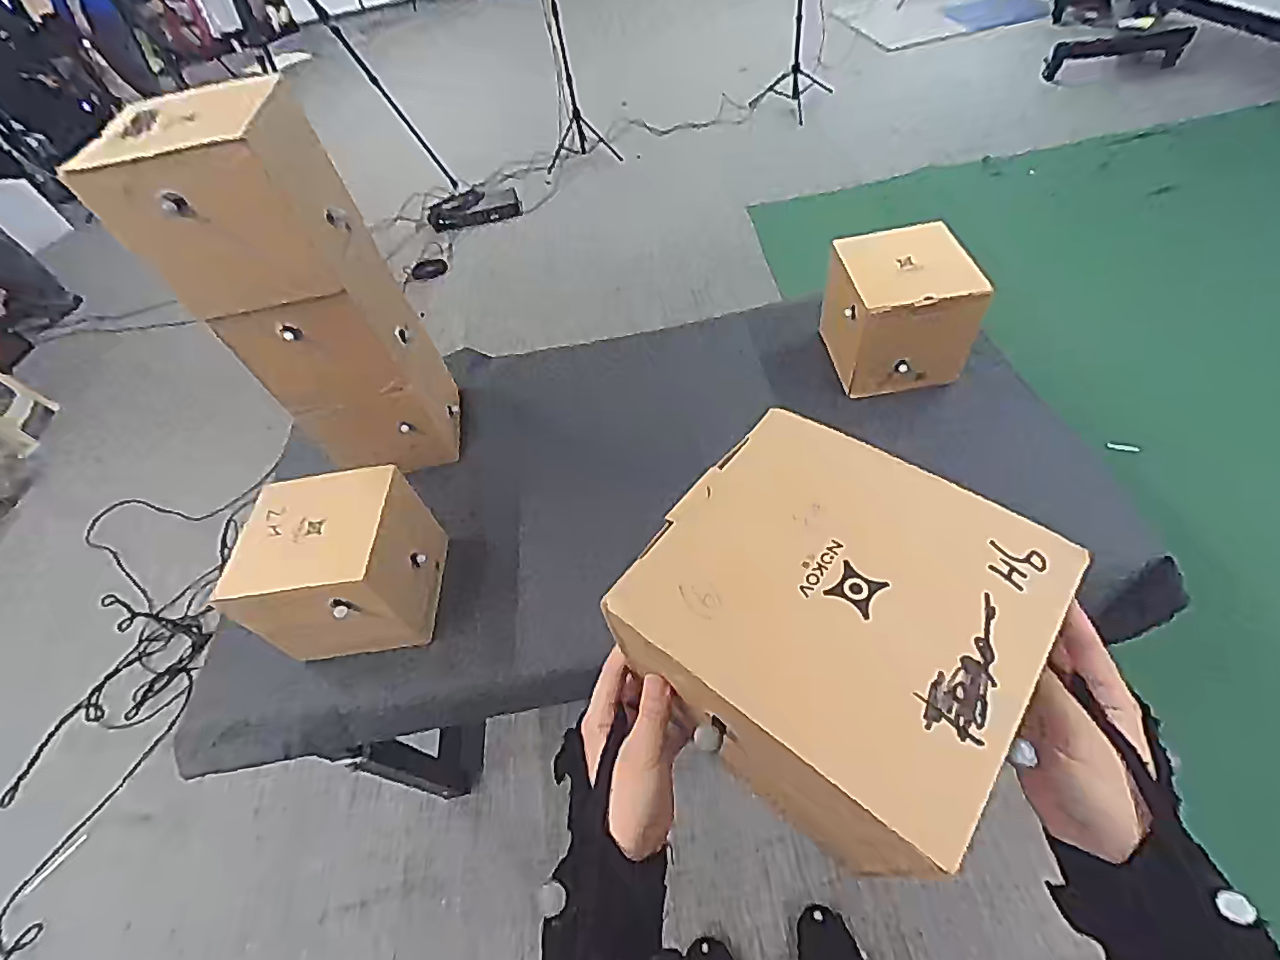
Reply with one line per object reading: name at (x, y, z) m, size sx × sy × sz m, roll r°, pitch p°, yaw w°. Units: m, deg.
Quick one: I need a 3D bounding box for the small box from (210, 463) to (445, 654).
small box at (-0.368, 0.103, 0.682) m, size 0.179 × 0.176 × 0.168 m, roll -9°, pitch 50°, yaw 3°

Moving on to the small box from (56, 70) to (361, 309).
small box at (-0.448, -0.313, 0.600) m, size 0.179 × 0.176 × 0.168 m, roll -11°, pitch 55°, yaw 0°

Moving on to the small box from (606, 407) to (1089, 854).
small box at (0.106, 0.093, 0.328) m, size 0.179 × 0.176 × 0.168 m, roll 32°, pitch 64°, yaw 27°

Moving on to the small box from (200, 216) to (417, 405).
small box at (-0.431, -0.224, 0.737) m, size 0.179 × 0.176 × 0.168 m, roll -13°, pitch 55°, yaw -1°

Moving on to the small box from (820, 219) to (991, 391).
small box at (0.385, -0.263, 0.825) m, size 0.168 × 0.176 × 0.179 m, roll -9°, pitch 54°, yaw 4°
